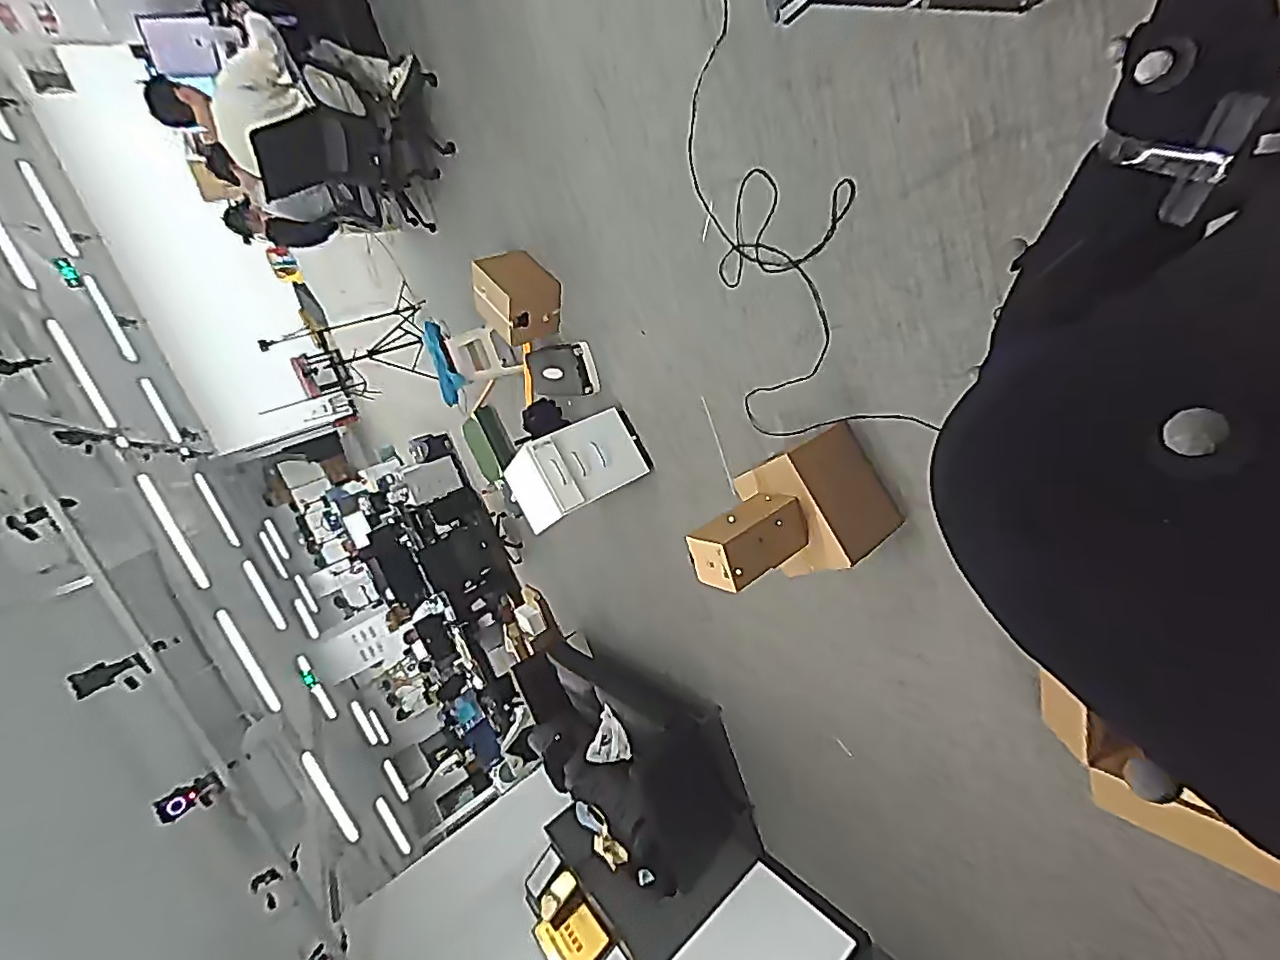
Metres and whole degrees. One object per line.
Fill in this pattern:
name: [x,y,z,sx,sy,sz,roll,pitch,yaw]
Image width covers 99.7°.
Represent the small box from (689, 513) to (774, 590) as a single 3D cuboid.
small box: [0.286,0.215,1.683,0.179,0.176,0.168,7,120,58]
